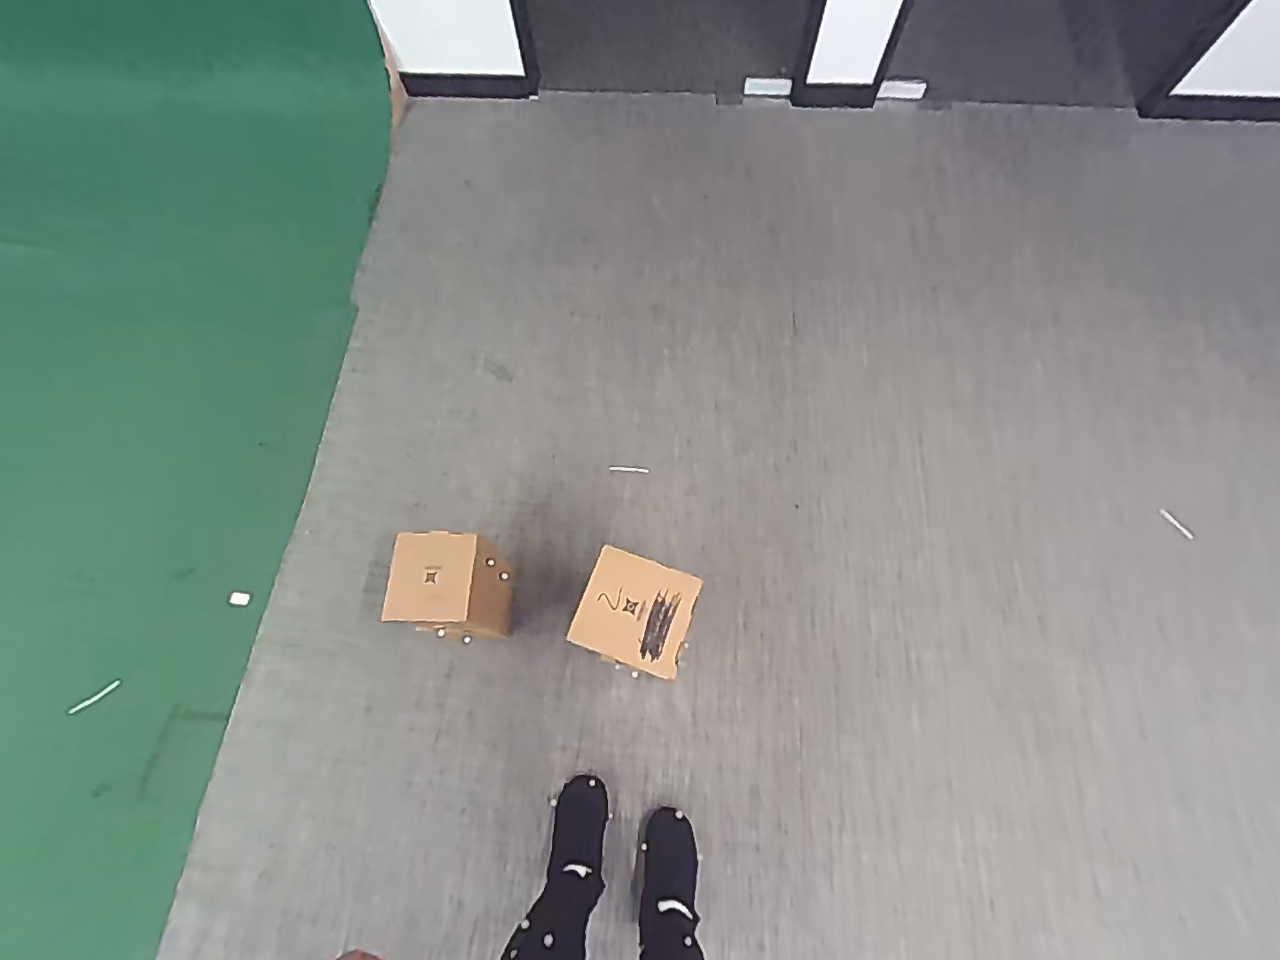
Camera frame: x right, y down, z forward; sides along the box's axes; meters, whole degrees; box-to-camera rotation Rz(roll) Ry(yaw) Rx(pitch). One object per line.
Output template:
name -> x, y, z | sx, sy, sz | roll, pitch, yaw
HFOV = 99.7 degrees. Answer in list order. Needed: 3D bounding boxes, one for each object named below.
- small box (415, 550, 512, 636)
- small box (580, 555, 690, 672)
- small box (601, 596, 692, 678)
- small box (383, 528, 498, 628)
small box -> -0.404, 0.268, 1.271 | 0.168, 0.176, 0.179 | 0, 70, 1
small box -> -0.004, 0.273, 1.088 | 0.168, 0.176, 0.179 | 17, 71, 8
small box -> 0.016, 0.343, 1.235 | 0.168, 0.176, 0.179 | 13, 71, 6
small box -> -0.400, 0.206, 1.120 | 0.168, 0.176, 0.179 | 0, 70, 2
